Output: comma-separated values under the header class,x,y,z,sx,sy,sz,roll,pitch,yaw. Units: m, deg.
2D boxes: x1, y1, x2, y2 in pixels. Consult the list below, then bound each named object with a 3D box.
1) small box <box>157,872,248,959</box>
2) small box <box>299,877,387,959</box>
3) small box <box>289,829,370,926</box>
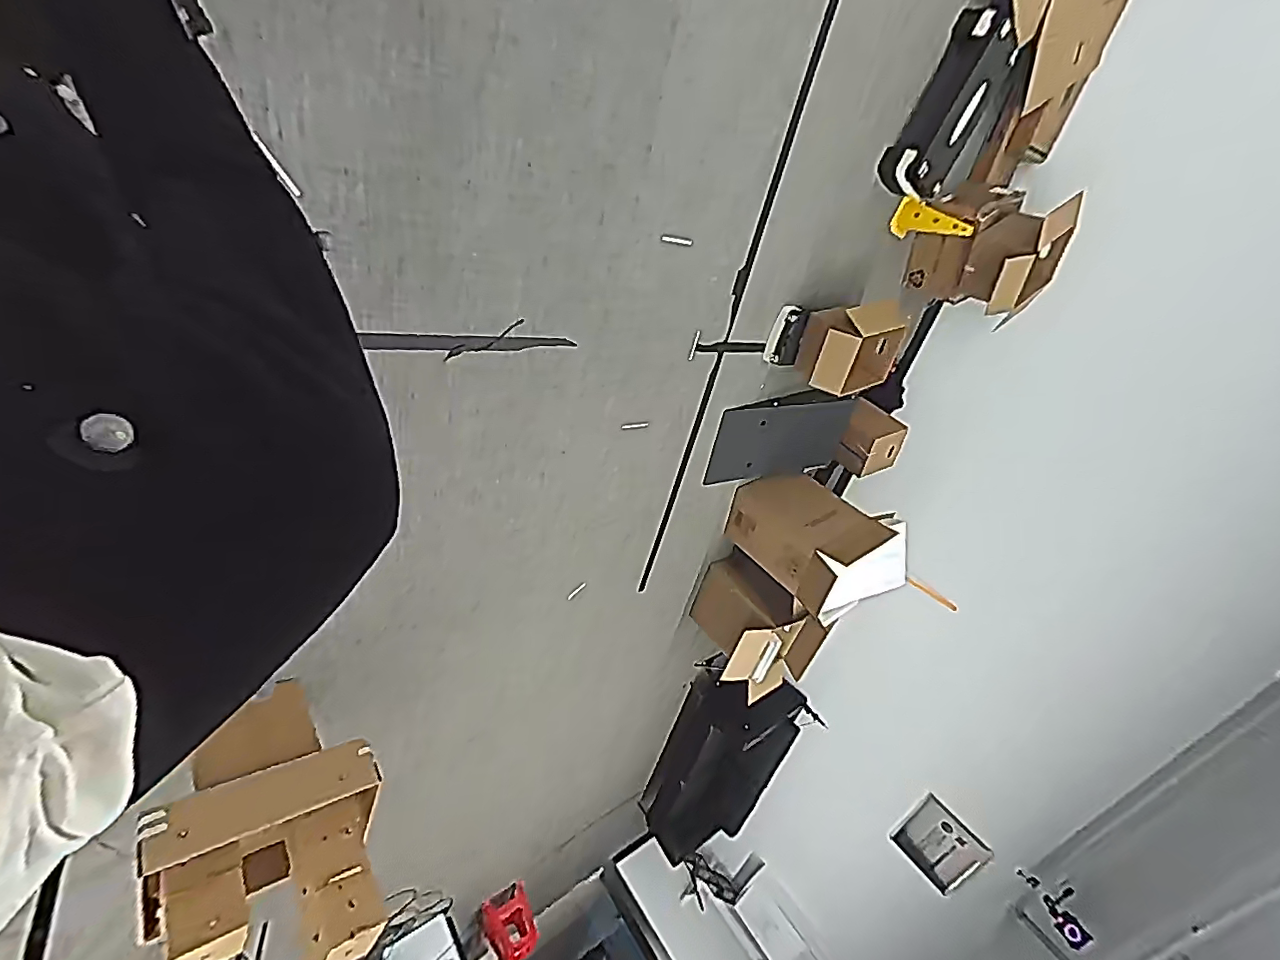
class,x,y,z,sx,sy,sz,roll,pitch,yaw
small box,-1.218,1.249,1.500,0.179,0.176,0.168,0,124,-46
small box,-0.898,1.343,1.627,0.168,0.176,0.179,13,114,-49
small box,-0.997,1.257,1.727,0.168,0.176,0.179,7,119,-48
